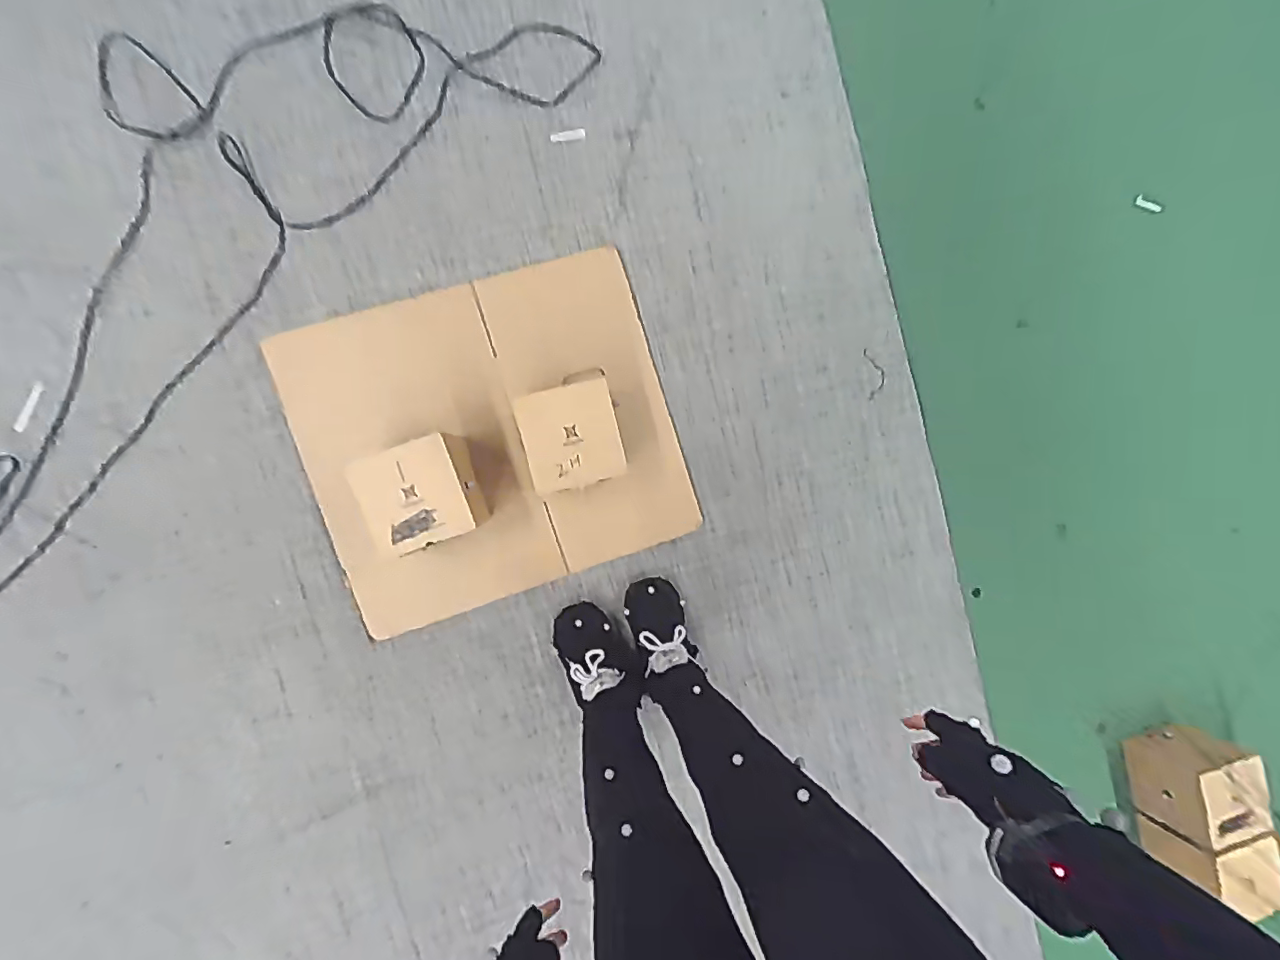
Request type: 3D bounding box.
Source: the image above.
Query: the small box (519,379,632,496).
[{"bbox_3d":[-0.122,-0.076,1.008,0.168,0.176,0.179,-14,94,-6],"label":"small box"}]

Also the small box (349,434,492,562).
[{"bbox_3d":[-0.380,0.027,0.972,0.168,0.176,0.179,-20,94,-7],"label":"small box"}]
